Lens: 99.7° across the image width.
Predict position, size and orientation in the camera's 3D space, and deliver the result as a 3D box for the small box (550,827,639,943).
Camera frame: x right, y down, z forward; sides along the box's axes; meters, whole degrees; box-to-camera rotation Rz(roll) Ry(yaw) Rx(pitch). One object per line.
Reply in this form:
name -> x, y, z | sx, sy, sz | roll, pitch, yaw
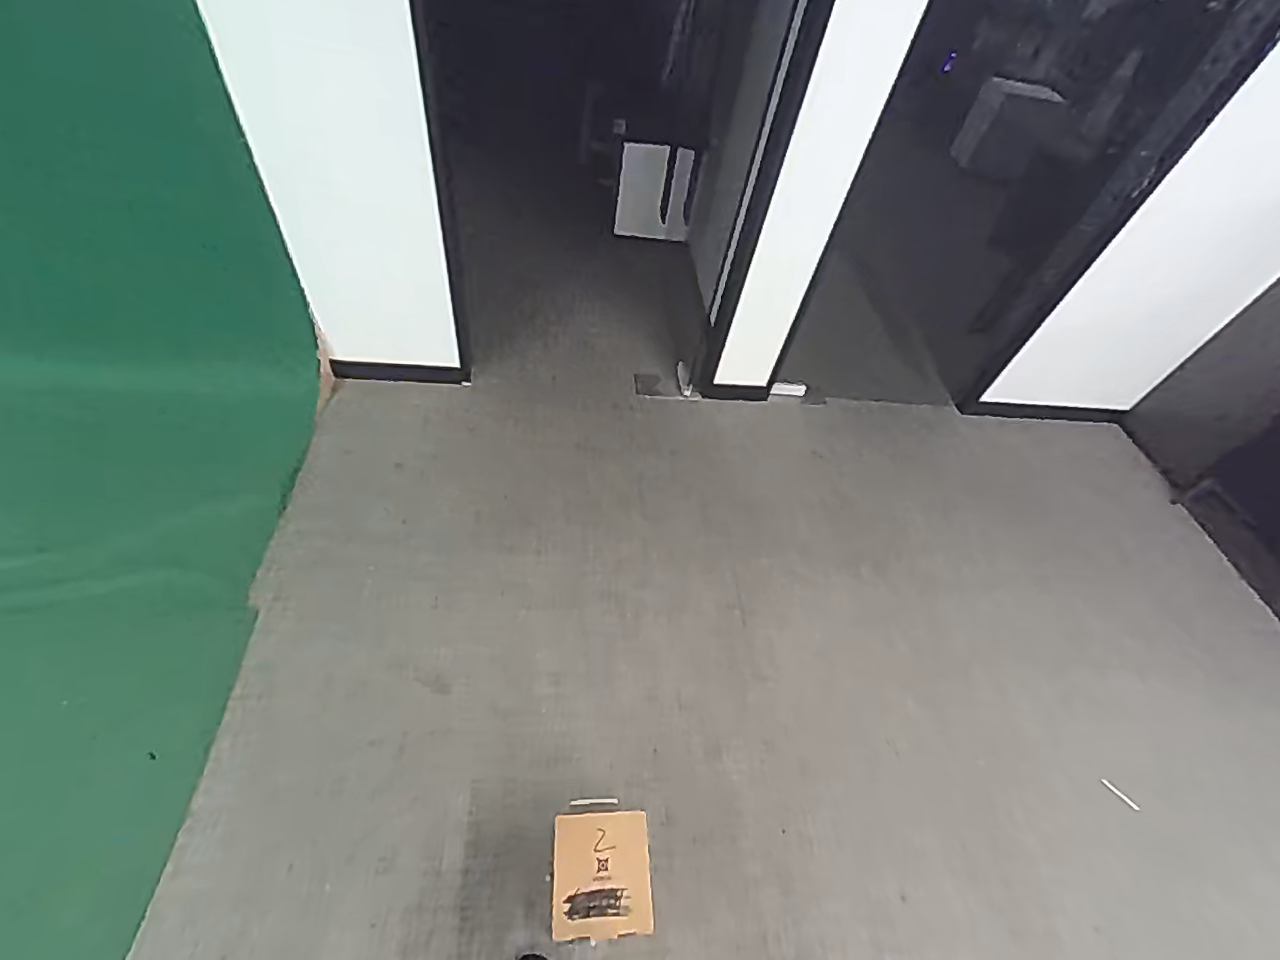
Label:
small box -> -0.096, 0.826, 1.104 | 0.168, 0.176, 0.179 | 3, 51, -8
